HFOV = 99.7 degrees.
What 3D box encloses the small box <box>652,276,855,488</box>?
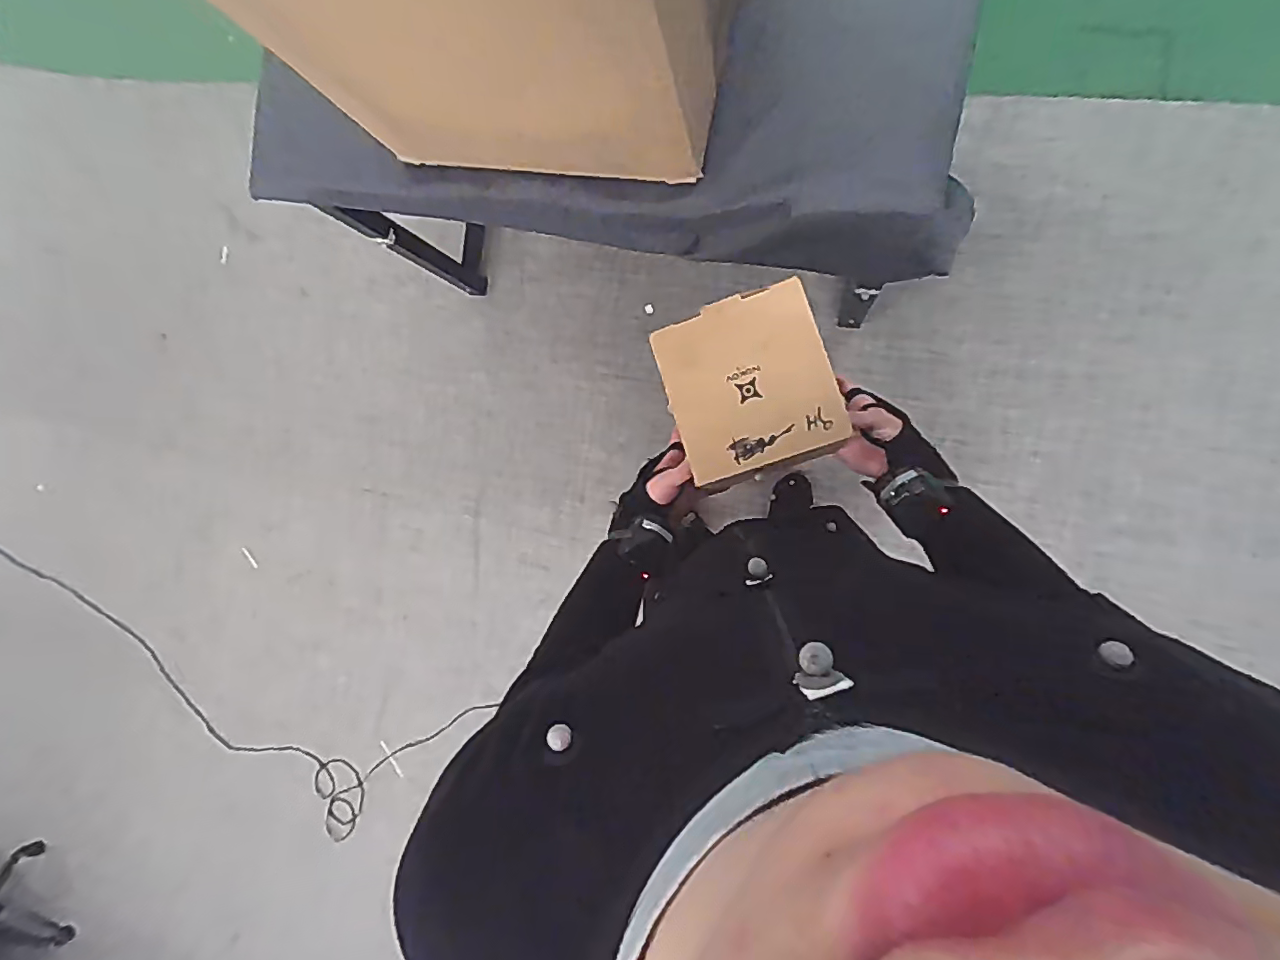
[{"bbox_3d":[0.129,-0.097,0.630,0.168,0.176,0.179,-20,83,13],"label":"small box"}]
